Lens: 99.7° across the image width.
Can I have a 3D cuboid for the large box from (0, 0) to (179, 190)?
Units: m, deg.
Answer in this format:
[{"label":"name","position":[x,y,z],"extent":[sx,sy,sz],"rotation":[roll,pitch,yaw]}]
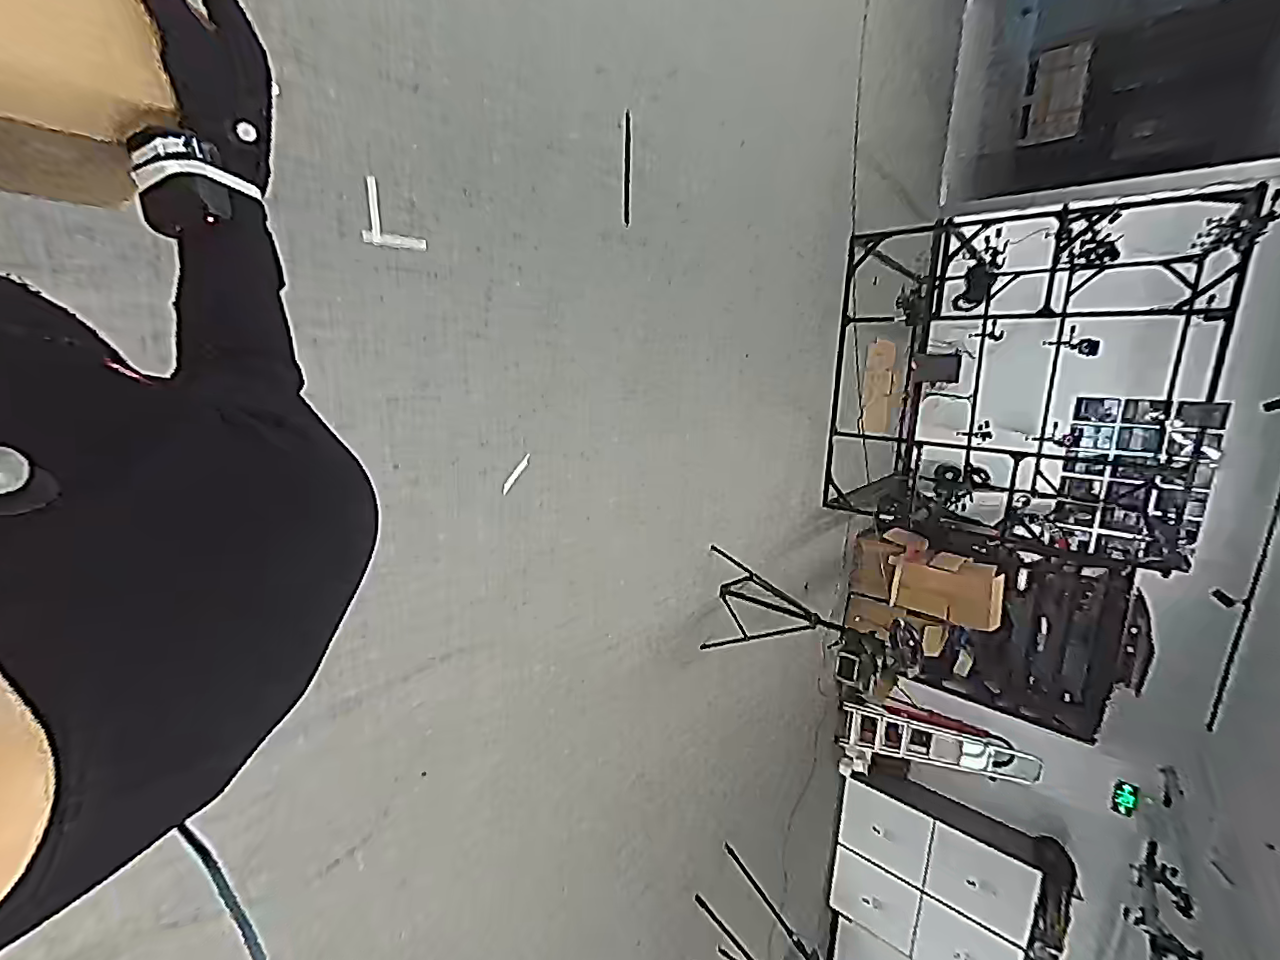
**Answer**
[{"label":"large box","position":[-0.608,-0.413,0.338],"extent":[0.408,0.320,0.320],"rotation":[-15,113,-50]}]
